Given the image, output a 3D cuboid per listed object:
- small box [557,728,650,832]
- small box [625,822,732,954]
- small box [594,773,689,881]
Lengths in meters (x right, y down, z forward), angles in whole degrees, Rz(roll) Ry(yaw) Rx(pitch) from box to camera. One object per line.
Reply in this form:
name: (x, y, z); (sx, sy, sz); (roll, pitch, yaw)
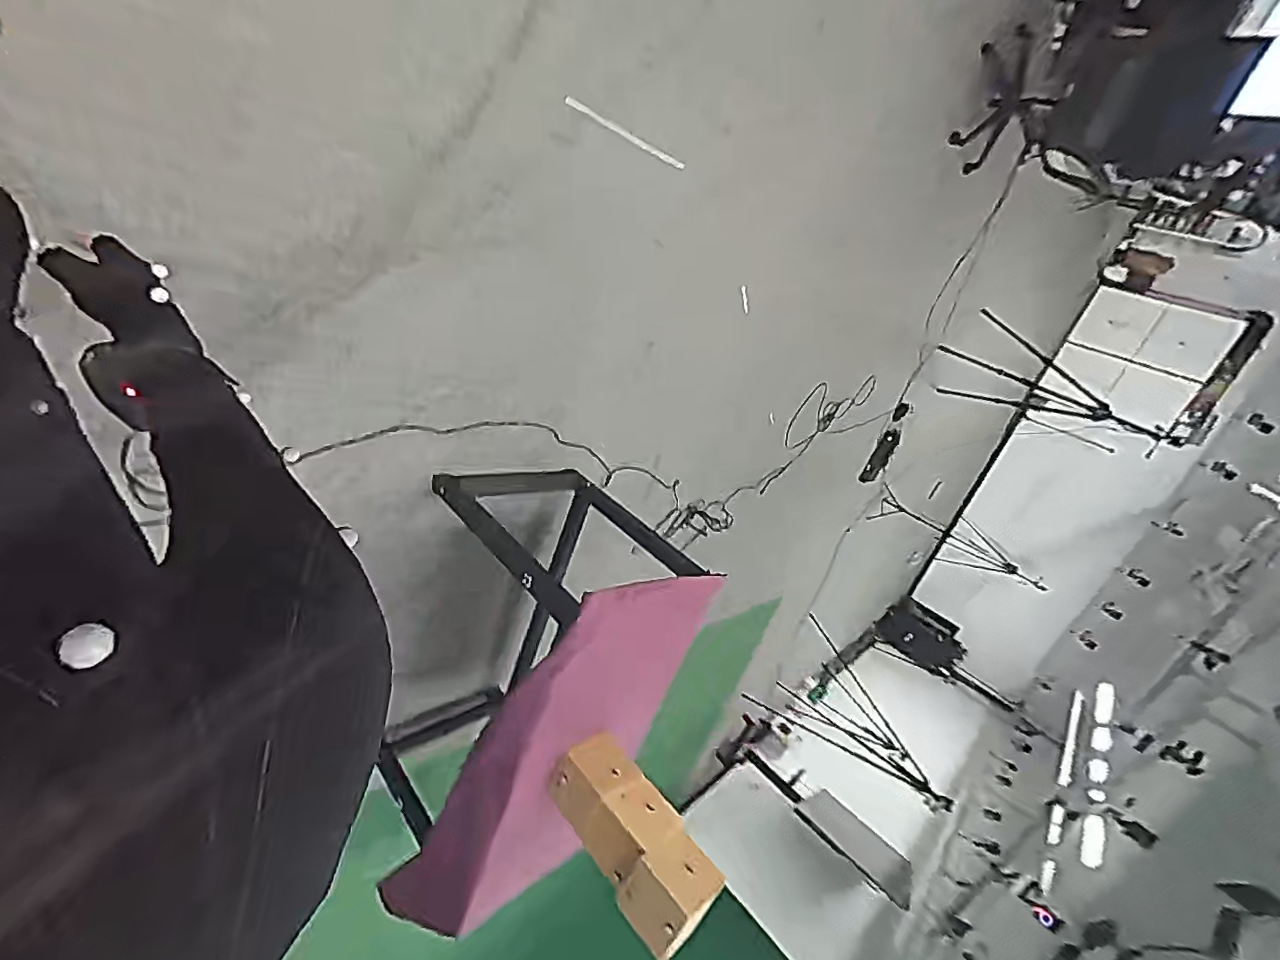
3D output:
small box: (-0.109, 0.859, 1.569); (0.179, 0.176, 0.168); (2, 116, -50)
small box: (0.096, 1.021, 1.373); (0.179, 0.176, 0.168); (2, 116, -52)
small box: (0.000, 0.942, 1.483); (0.168, 0.176, 0.179); (-1, 119, -50)
